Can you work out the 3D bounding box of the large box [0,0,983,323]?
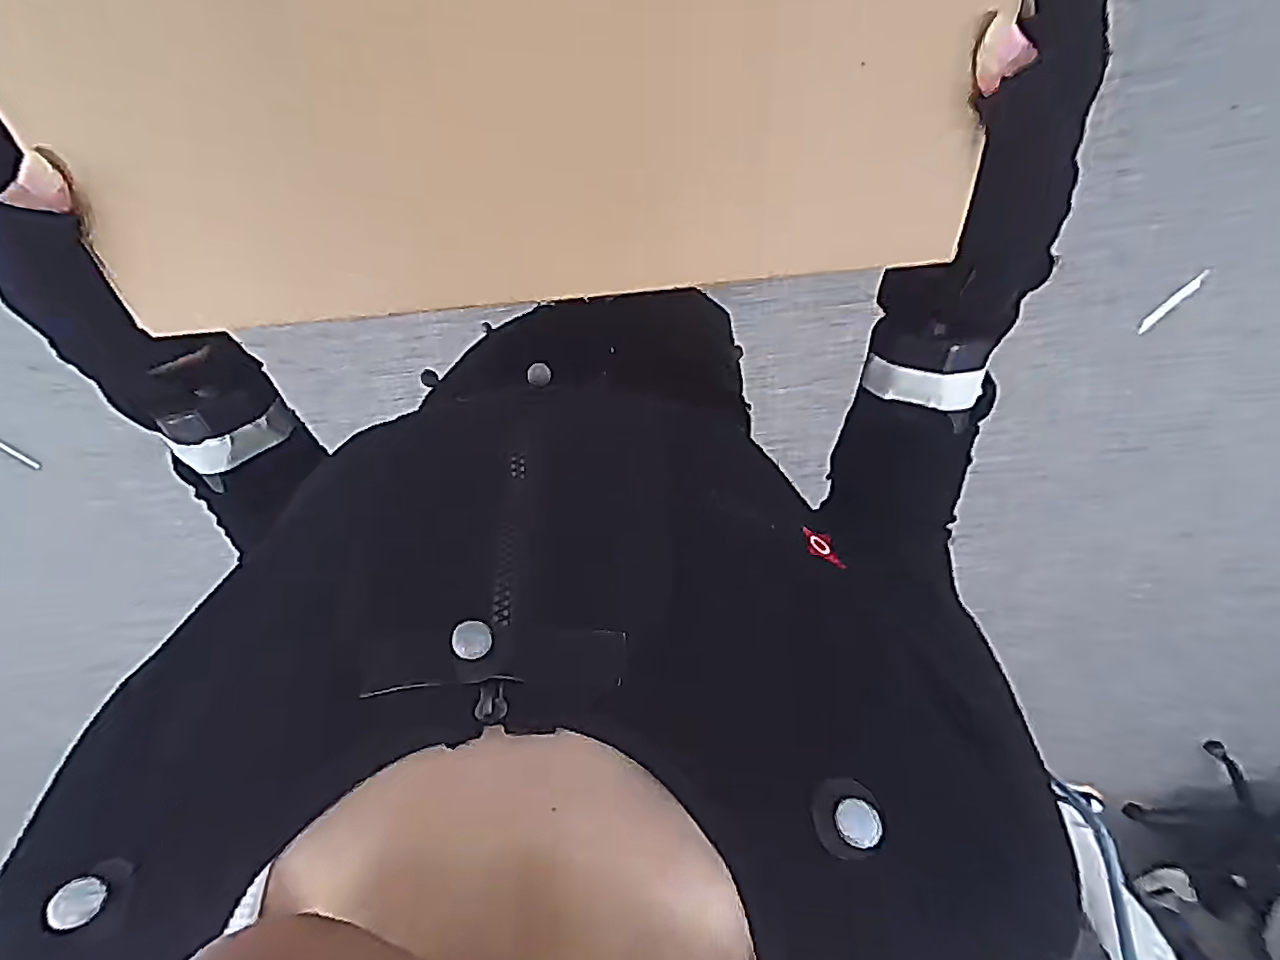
[{"bbox_3d":[-0.070,-0.312,0.308,0.408,0.320,0.320,-5,127,3],"label":"large box"}]
